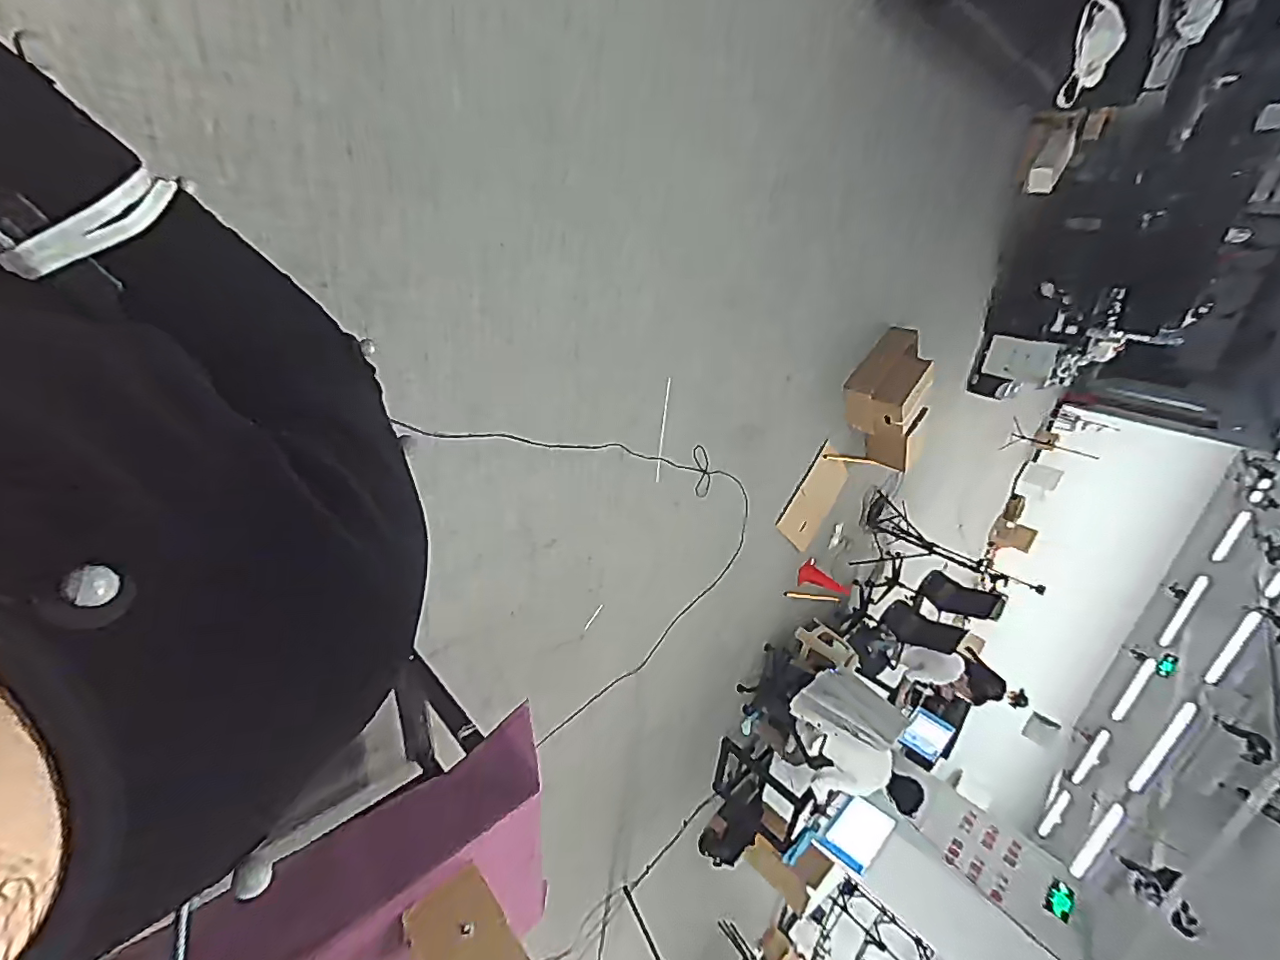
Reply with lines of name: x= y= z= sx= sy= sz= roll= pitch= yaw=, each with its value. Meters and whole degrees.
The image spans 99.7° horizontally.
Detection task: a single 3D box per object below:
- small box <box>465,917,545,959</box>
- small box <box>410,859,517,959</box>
small box: x=-0.291 y=1.088 z=1.131 sx=0.179 sy=0.176 sz=0.168 roll=-18 pitch=123 yaw=-42
small box: x=-0.401 y=1.026 z=1.236 sx=0.179 sy=0.176 sz=0.168 roll=-16 pitch=122 yaw=-41
